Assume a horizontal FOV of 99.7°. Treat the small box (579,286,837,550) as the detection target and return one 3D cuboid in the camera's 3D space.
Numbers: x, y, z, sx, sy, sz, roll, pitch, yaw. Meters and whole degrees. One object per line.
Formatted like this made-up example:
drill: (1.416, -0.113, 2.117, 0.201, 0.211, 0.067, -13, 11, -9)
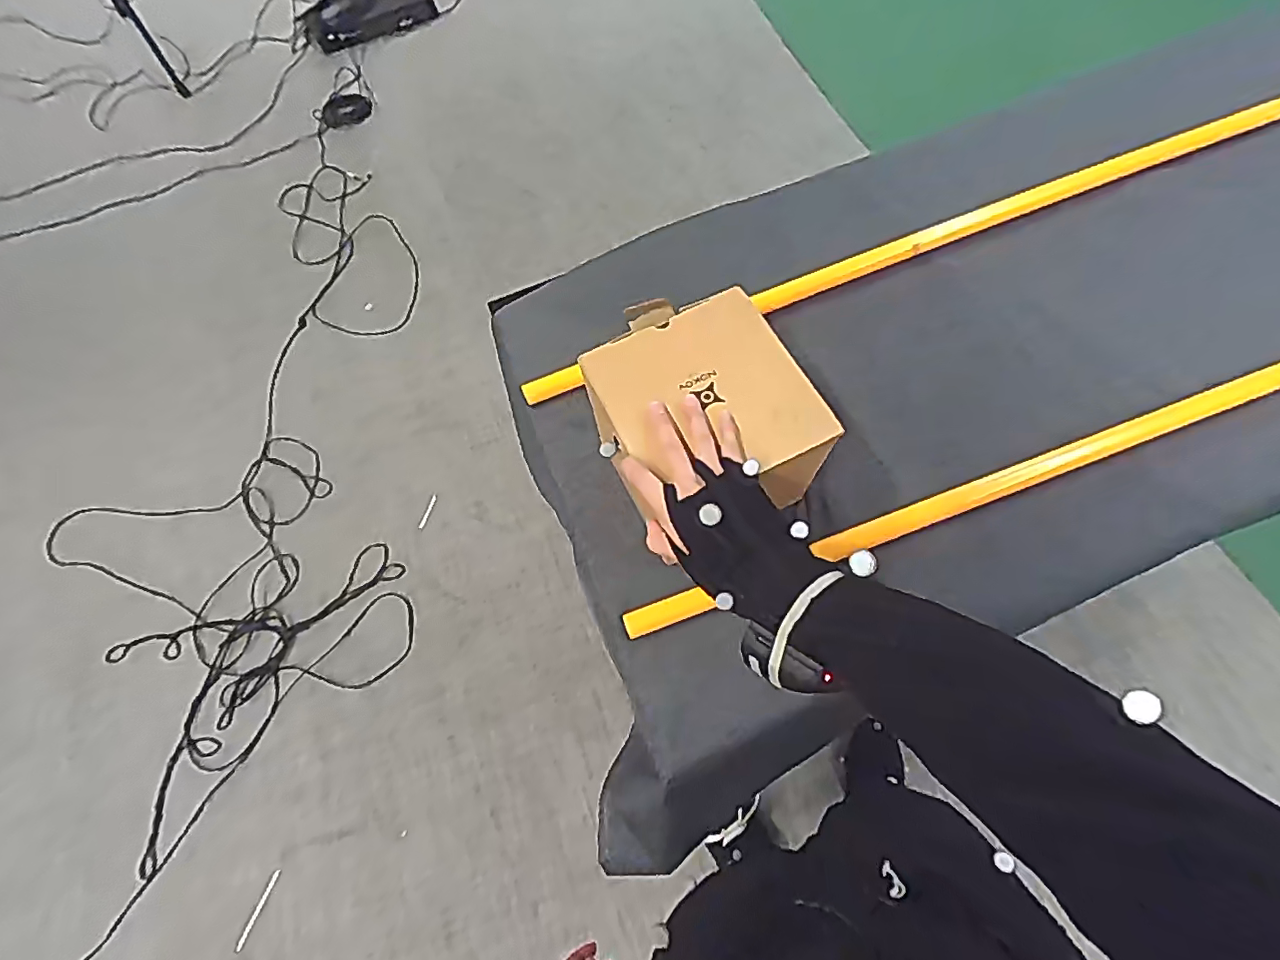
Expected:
small box: (0.061, -0.045, 0.535, 0.168, 0.176, 0.179, -26, 68, -6)
